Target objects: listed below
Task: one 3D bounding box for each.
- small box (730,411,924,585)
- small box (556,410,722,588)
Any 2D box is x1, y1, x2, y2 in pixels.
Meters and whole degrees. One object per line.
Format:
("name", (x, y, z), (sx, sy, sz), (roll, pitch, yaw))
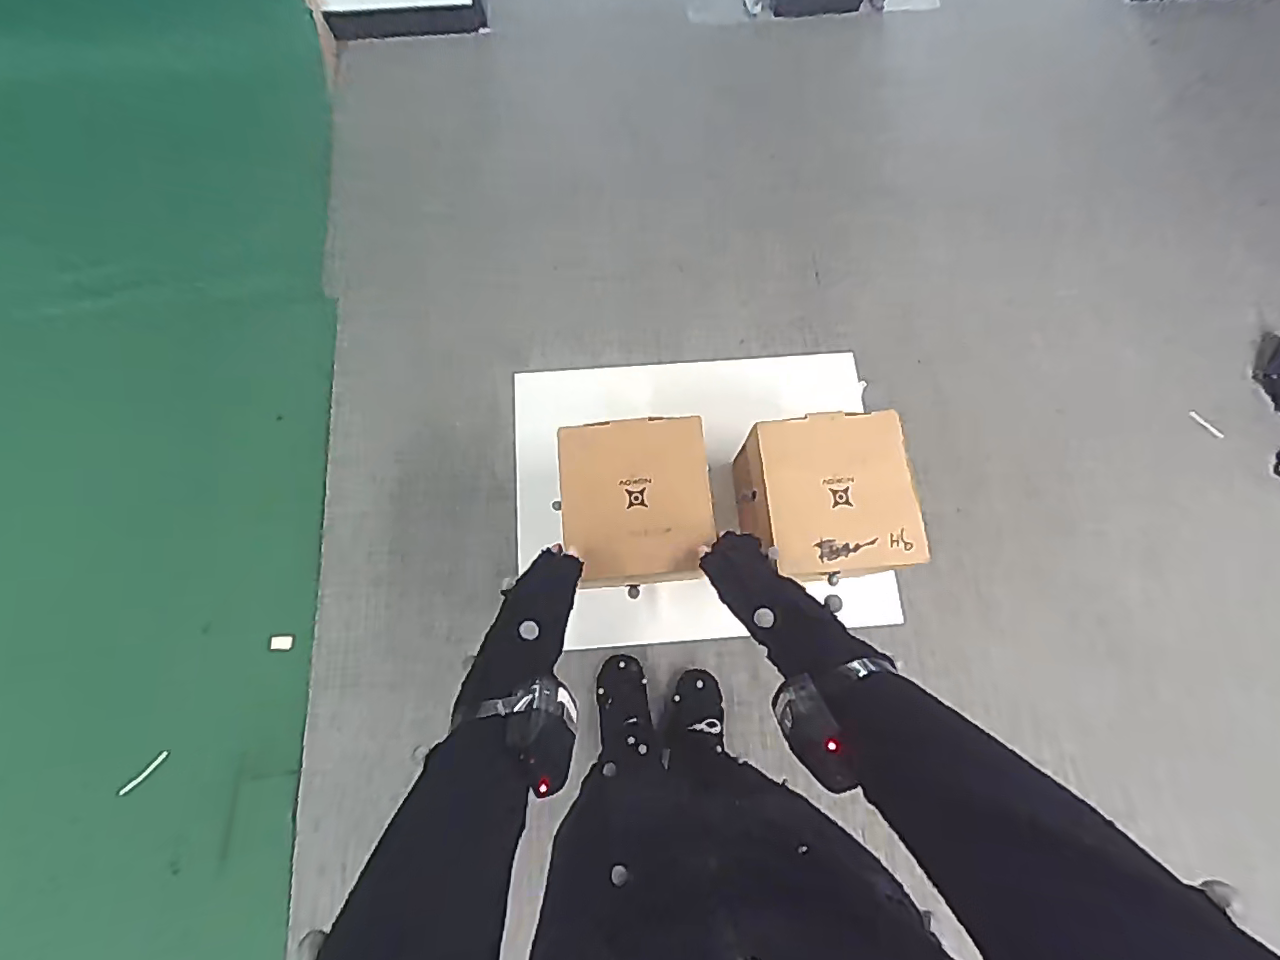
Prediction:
("small box", (0.214, 0.031, 0.672), (0.168, 0.176, 0.179), (-5, 75, -2))
("small box", (-0.006, 0.033, 0.657), (0.168, 0.176, 0.179), (-7, 78, -2))
